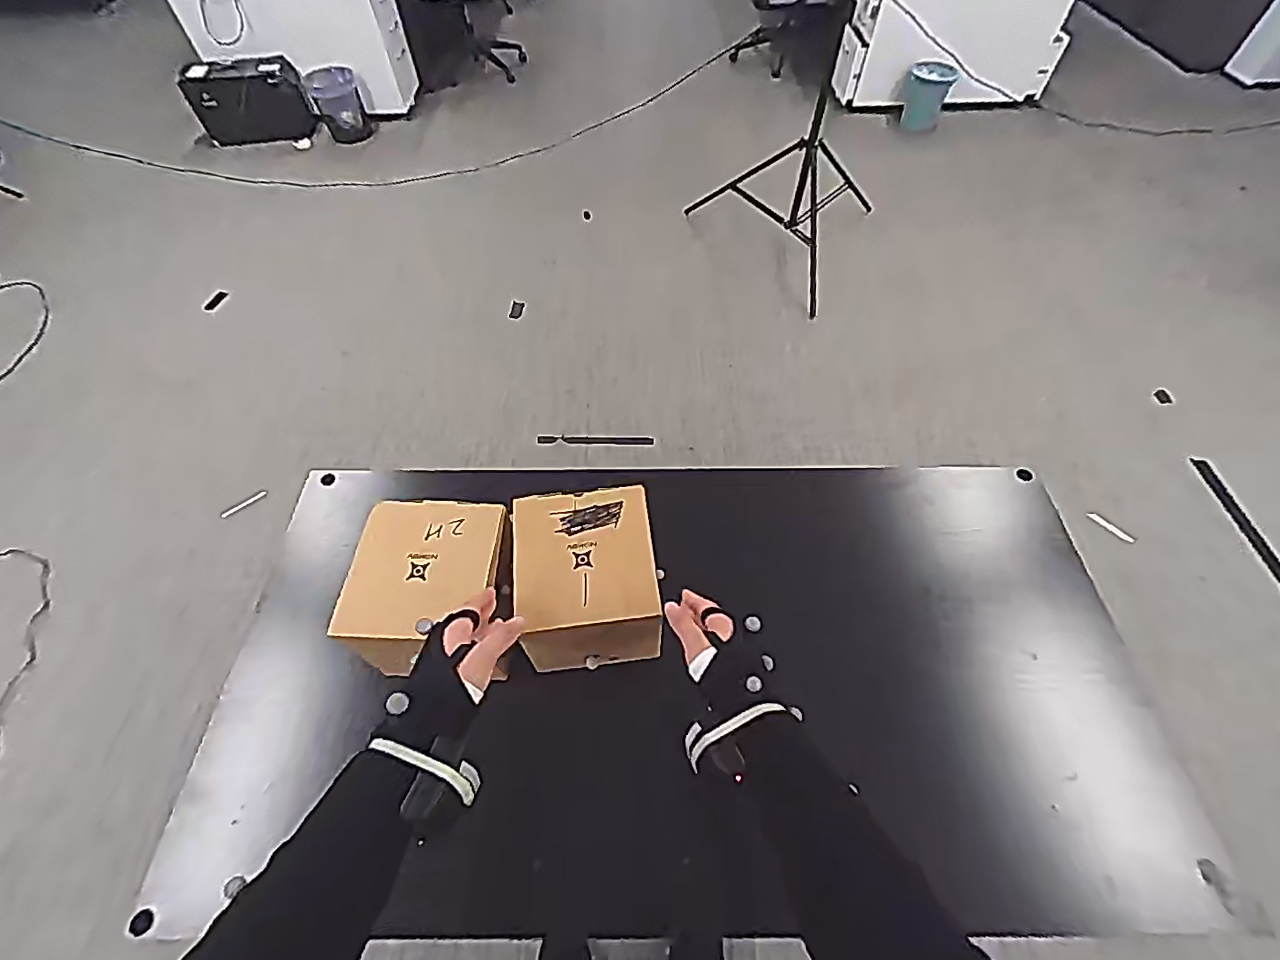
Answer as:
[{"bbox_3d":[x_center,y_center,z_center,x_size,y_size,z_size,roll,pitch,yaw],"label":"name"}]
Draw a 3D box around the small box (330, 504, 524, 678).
[{"bbox_3d":[-0.255,0.149,0.700,0.168,0.176,0.179,2,55,1],"label":"small box"}]
